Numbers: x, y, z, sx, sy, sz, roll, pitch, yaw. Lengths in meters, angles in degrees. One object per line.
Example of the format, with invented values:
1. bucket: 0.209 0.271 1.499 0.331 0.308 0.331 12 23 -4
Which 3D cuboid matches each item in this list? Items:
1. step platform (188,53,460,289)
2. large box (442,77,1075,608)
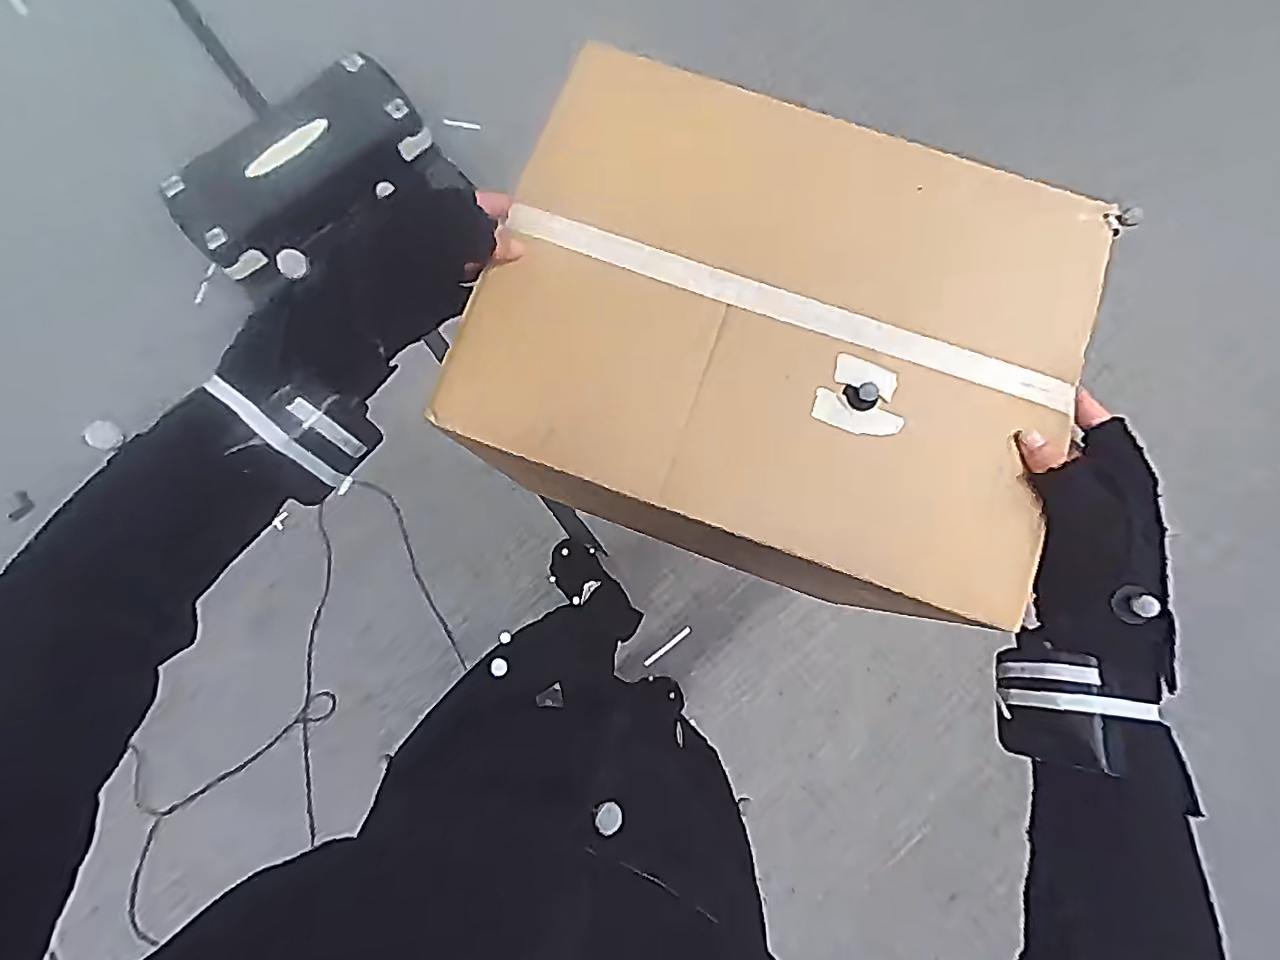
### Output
1. step platform: -0.861 -0.856 1.504 0.684 0.204 0.286 -40 80 -7
2. large box: 0.091 -0.091 0.538 0.408 0.320 0.320 19 82 3
